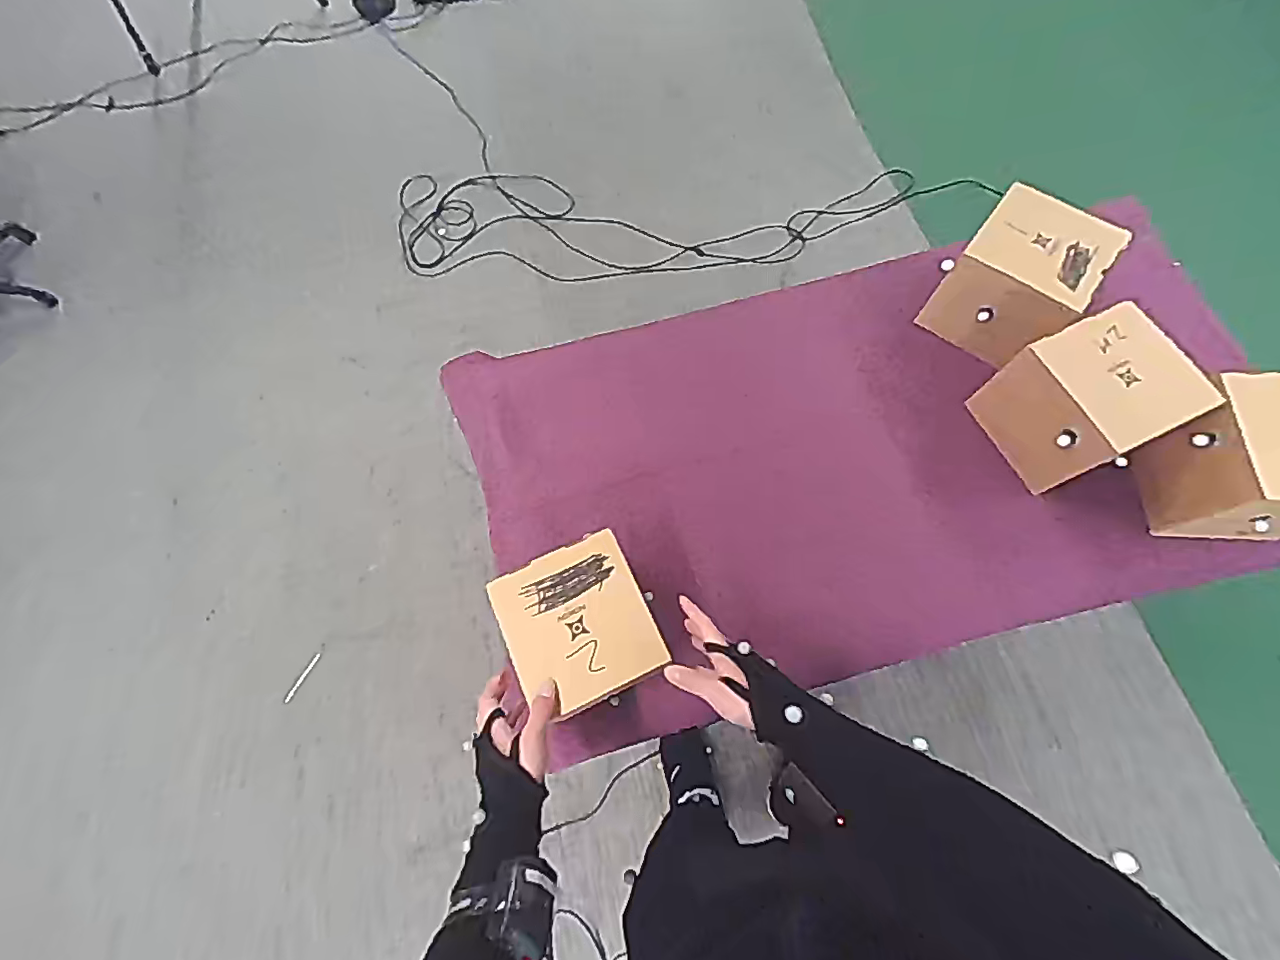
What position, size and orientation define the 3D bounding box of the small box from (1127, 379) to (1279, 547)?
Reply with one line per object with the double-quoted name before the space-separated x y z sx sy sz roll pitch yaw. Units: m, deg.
"small box" 0.812 -0.015 0.719 0.168 0.176 0.179 3 69 5
